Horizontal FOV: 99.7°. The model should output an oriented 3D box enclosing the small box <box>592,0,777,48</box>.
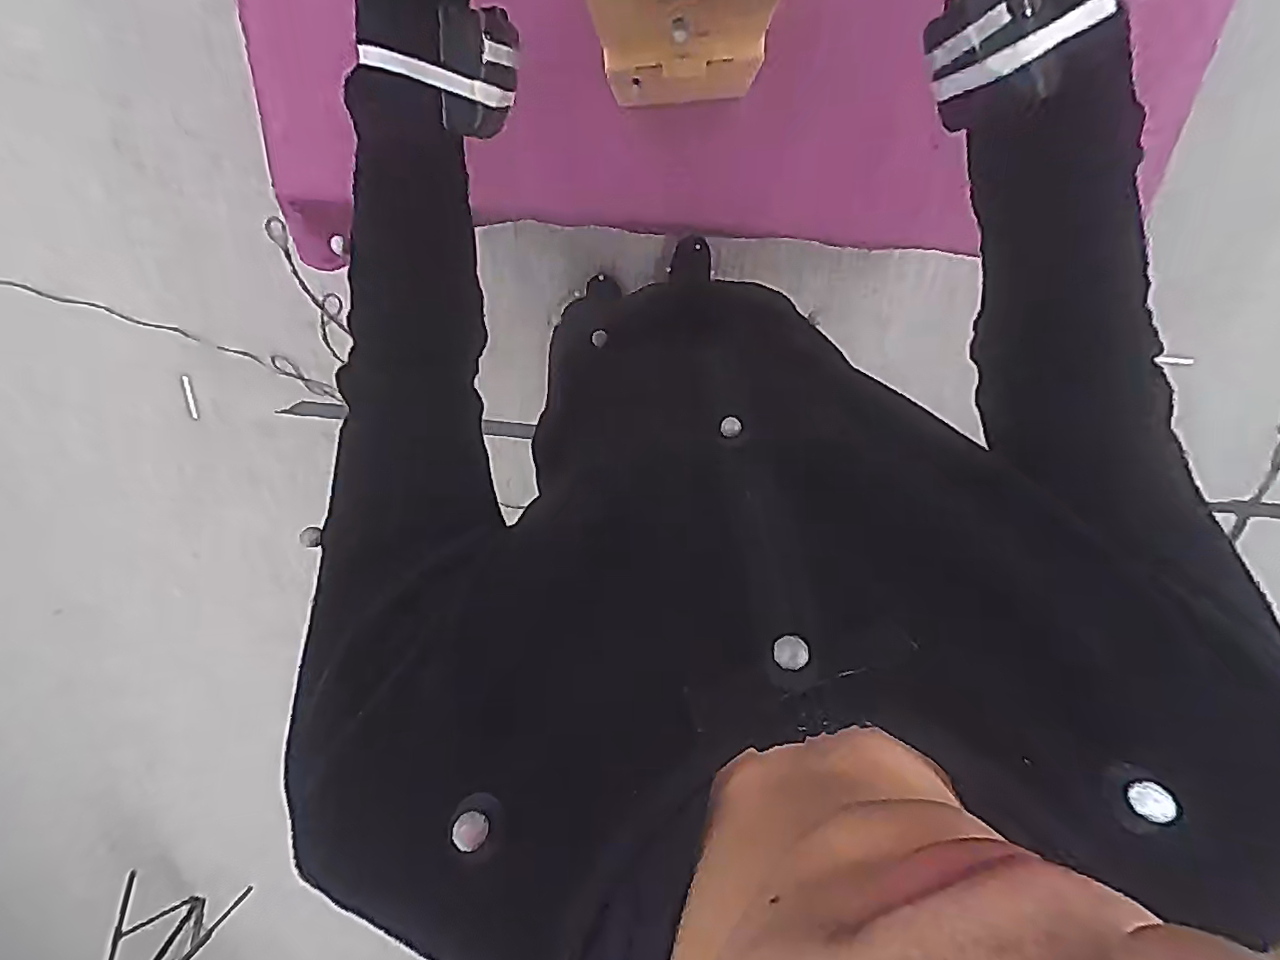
[{"bbox_3d":[0.034,-0.487,0.436,0.168,0.176,0.179,-1,113,4],"label":"small box"}]
